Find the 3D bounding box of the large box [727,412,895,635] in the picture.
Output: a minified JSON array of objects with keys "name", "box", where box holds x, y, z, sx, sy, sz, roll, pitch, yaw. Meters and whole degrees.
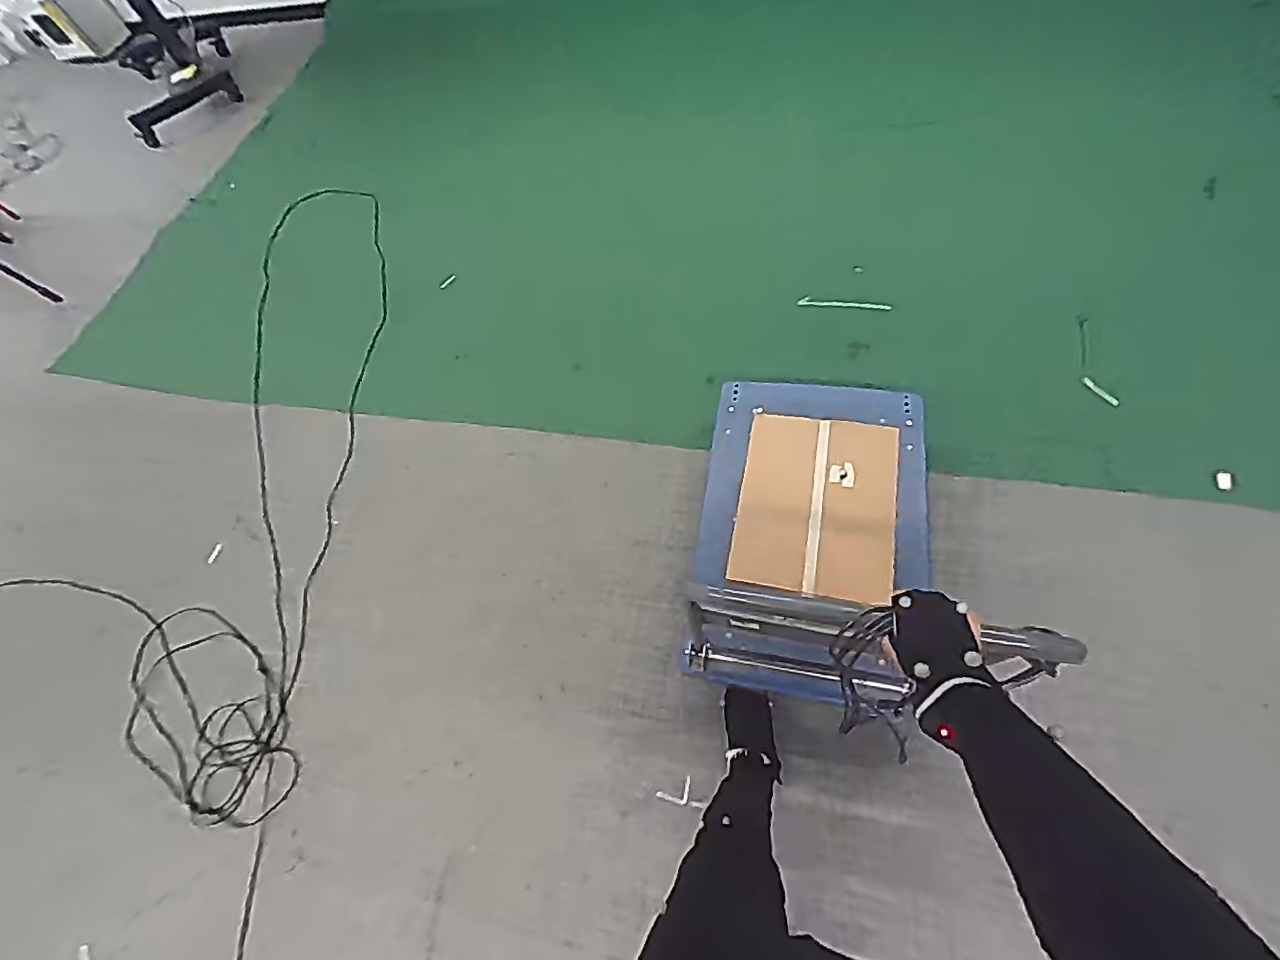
[{"name":"large box","box":[0.384,0.106,1.248,0.320,0.320,0.408,9,64,13]}]
